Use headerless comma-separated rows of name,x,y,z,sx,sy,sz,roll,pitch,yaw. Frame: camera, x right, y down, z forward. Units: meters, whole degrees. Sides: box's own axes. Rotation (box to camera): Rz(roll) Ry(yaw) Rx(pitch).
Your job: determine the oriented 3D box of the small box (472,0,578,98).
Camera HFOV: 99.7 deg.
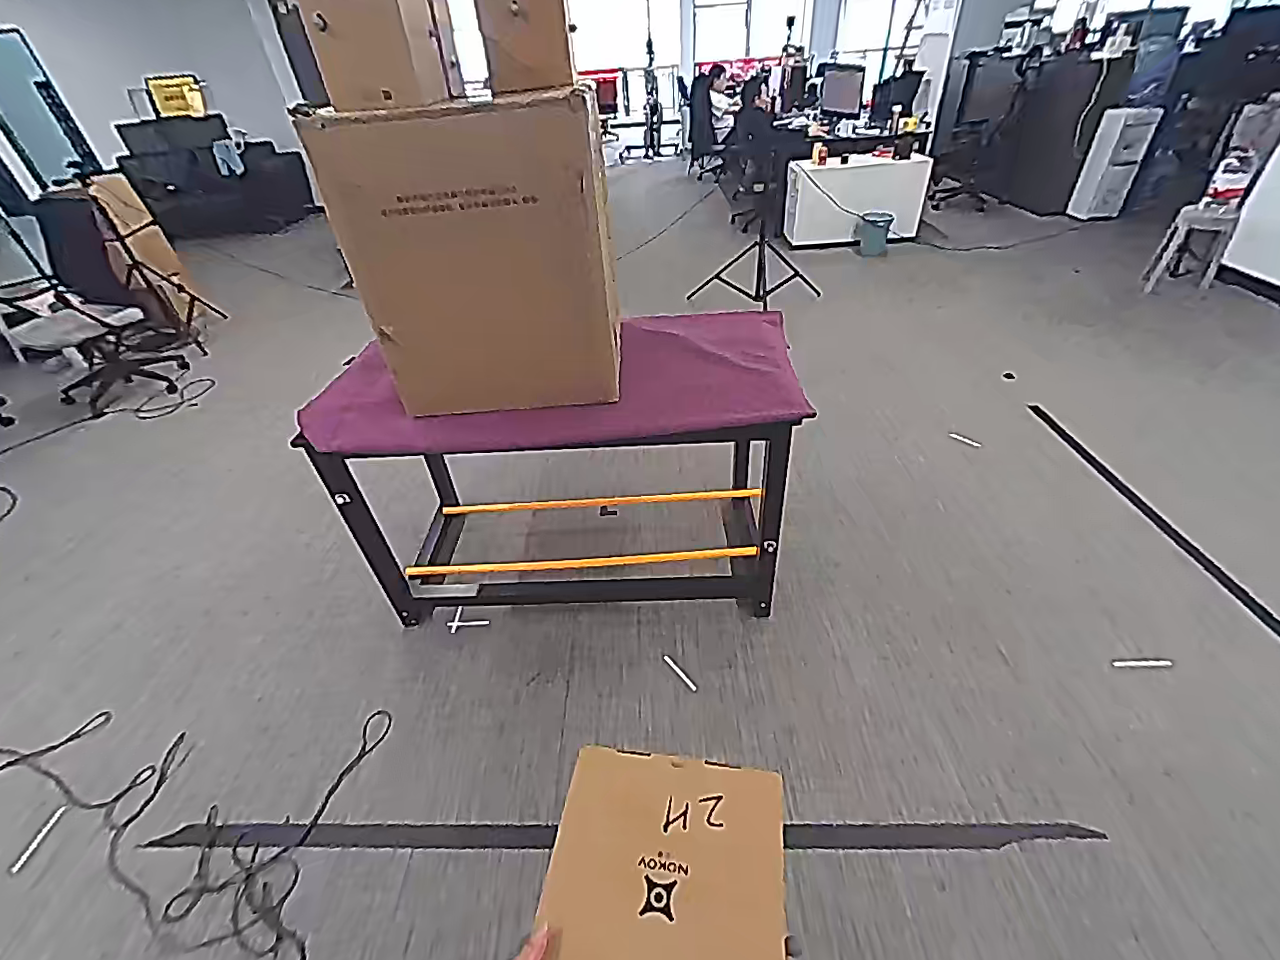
small box,-0.228,-0.910,1.122,0.179,0.176,0.168,-6,38,2
